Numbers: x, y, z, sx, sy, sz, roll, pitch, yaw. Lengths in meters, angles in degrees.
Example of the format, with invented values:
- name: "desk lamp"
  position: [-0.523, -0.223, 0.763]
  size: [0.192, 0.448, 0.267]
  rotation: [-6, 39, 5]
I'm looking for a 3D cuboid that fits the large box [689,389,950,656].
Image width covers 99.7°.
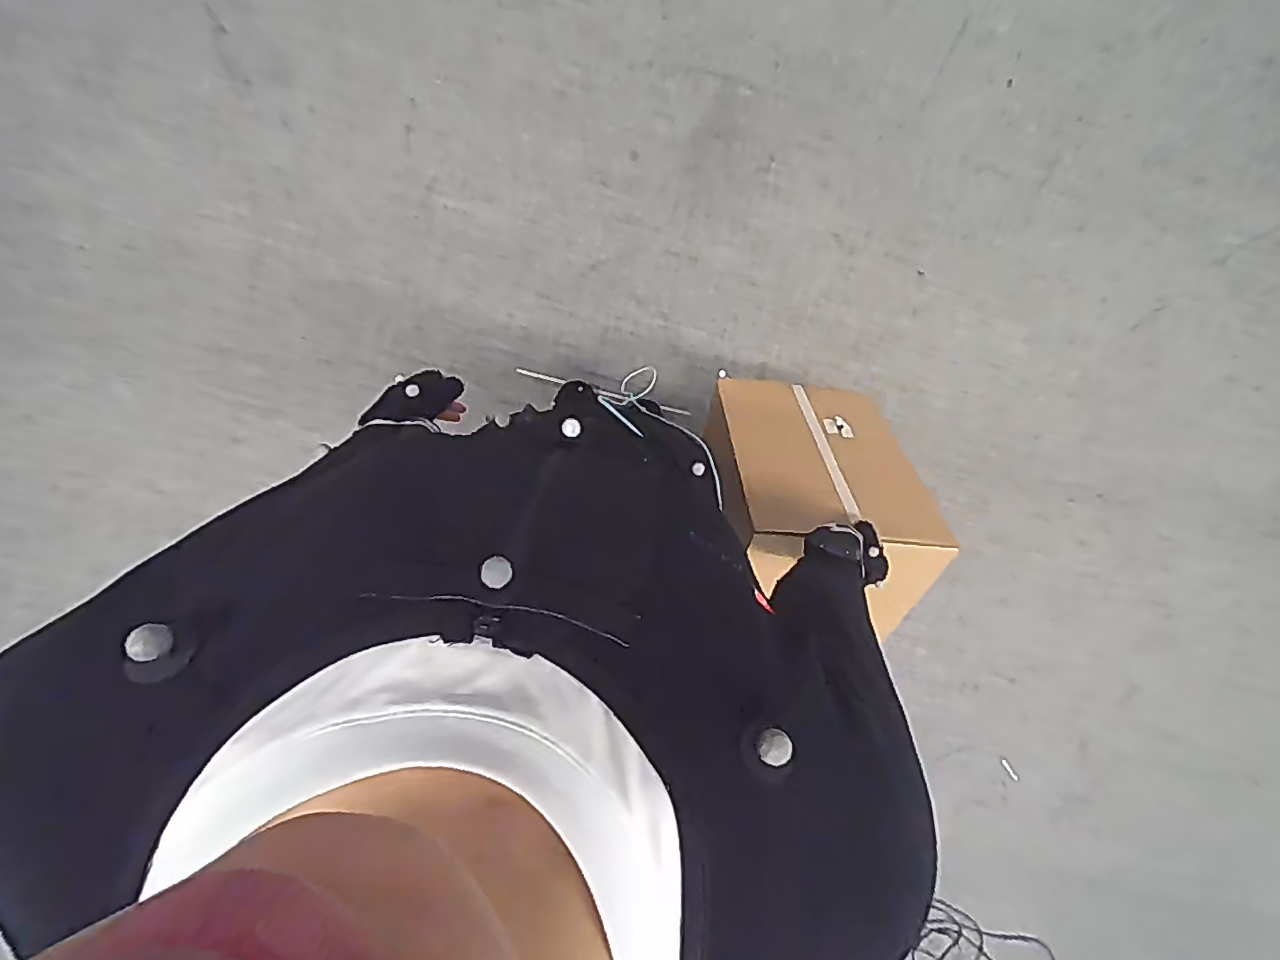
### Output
- name: "large box"
  position: [0.286, 0.076, 1.025]
  size: [0.320, 0.408, 0.320]
  rotation: [6, 131, -7]
